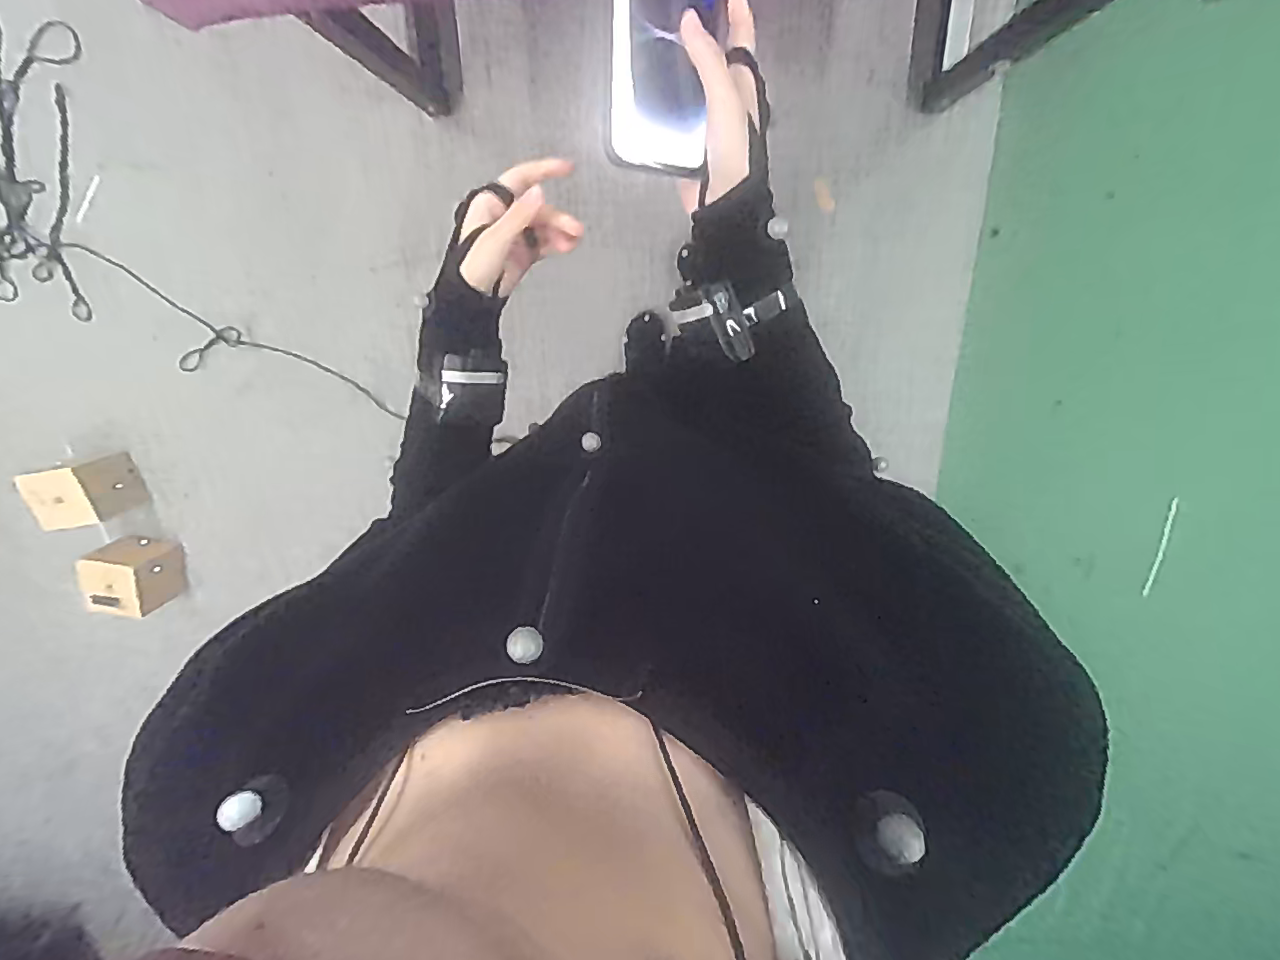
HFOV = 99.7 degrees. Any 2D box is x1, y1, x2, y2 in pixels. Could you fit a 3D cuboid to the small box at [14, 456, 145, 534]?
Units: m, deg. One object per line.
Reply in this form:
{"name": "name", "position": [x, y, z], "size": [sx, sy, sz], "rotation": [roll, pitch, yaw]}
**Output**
{"name": "small box", "position": [-1.569, 0.038, 1.534], "size": [0.179, 0.176, 0.168], "rotation": [-7, 108, 5]}
